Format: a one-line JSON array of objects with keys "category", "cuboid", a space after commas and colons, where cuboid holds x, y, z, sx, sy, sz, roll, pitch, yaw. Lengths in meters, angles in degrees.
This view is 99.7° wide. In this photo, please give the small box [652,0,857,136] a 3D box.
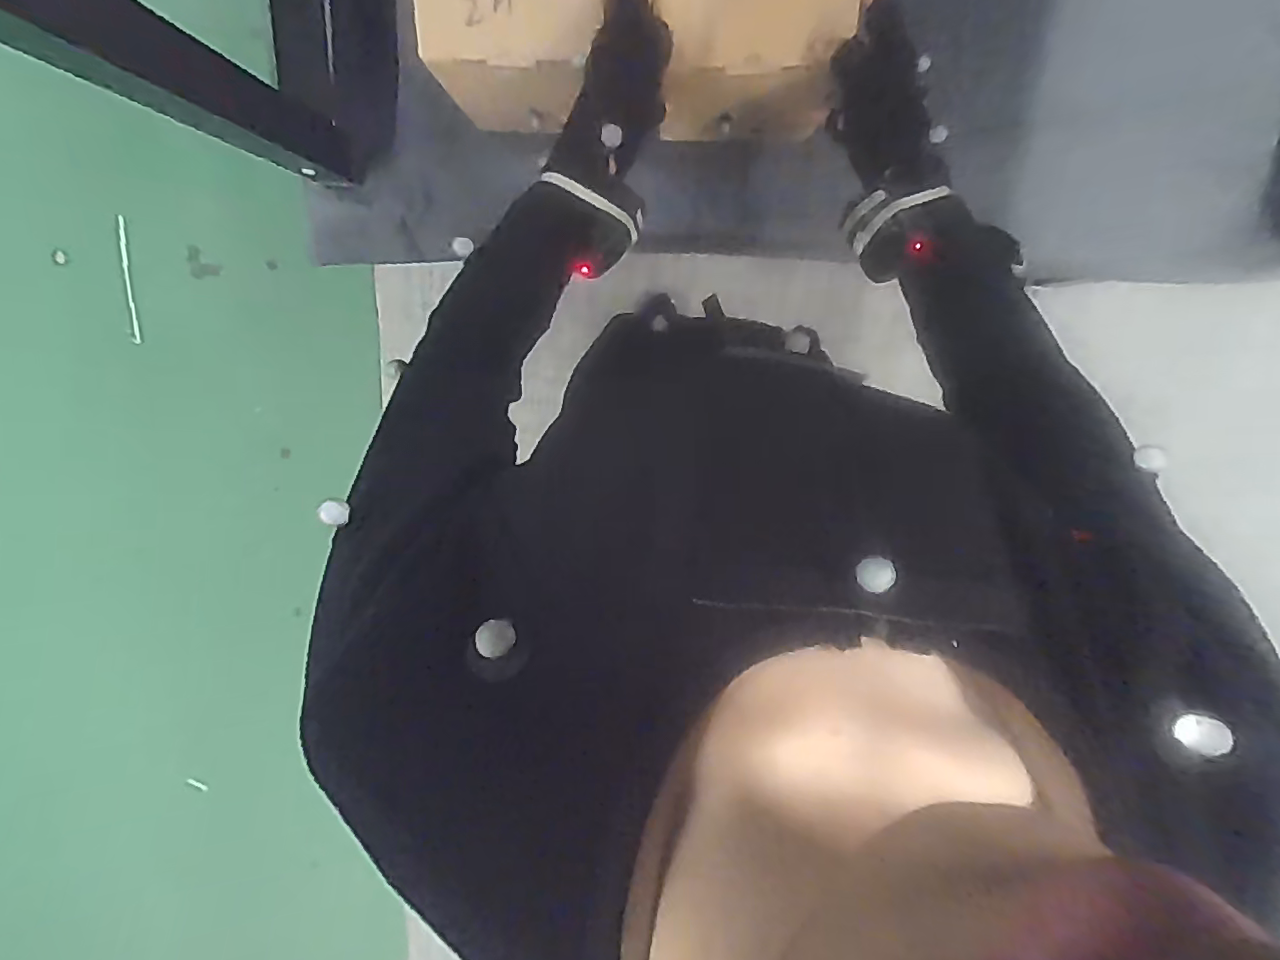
[{"category": "small box", "cuboid": [0.098, -0.447, 0.500, 0.168, 0.176, 0.179, 2, 106, 4]}]

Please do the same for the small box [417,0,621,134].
[{"category": "small box", "cuboid": [-0.108, -0.474, 0.534, 0.168, 0.176, 0.179, 2, 104, 2]}]
